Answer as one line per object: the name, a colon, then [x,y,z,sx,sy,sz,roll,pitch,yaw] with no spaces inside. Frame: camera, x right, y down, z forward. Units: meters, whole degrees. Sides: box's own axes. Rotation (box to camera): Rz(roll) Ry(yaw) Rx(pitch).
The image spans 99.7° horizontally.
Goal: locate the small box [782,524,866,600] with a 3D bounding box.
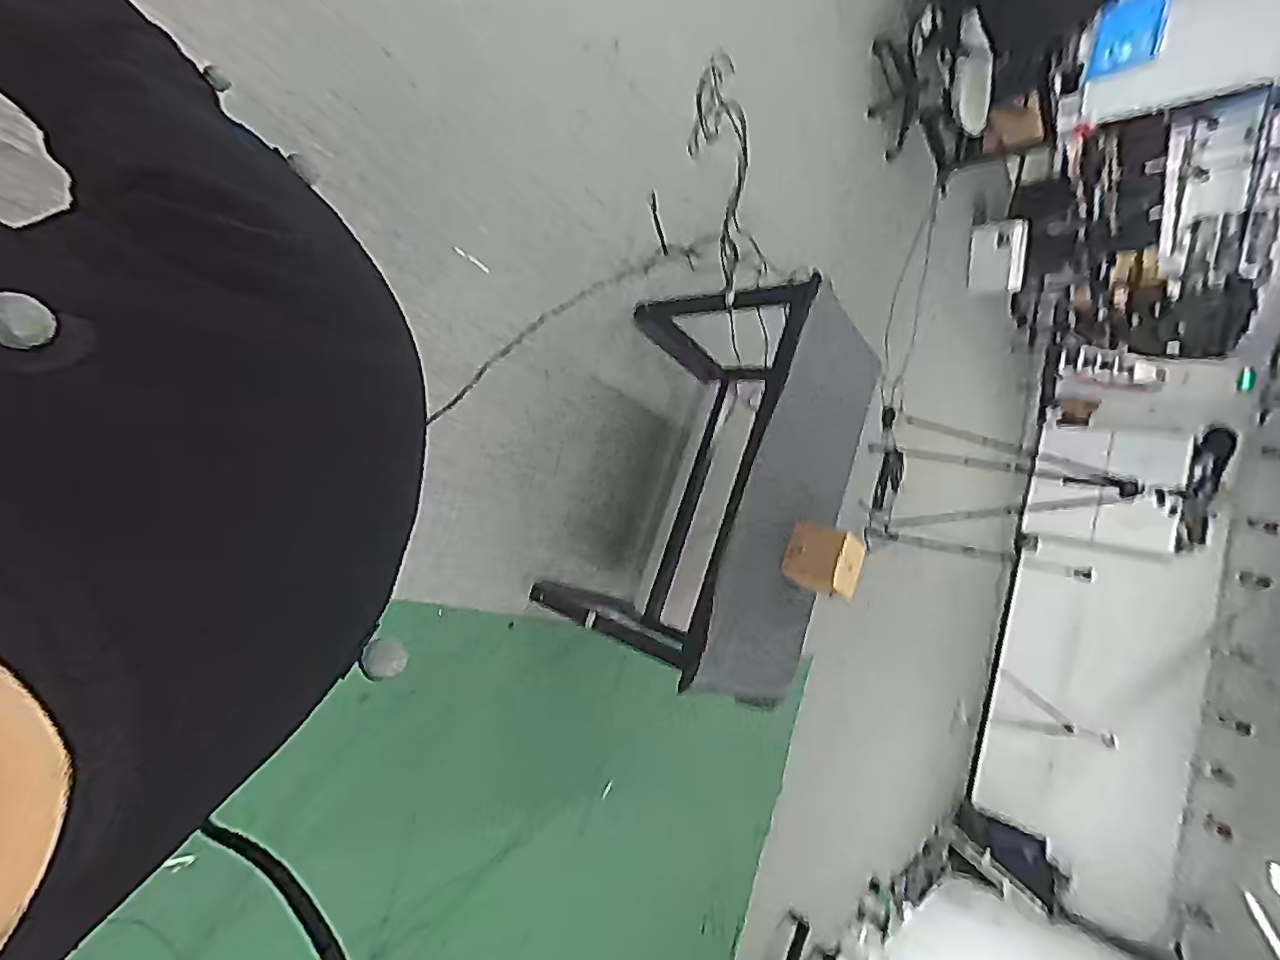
small box: [0.562,0.246,1.653,0.179,0.176,0.168,37,71,-43]
